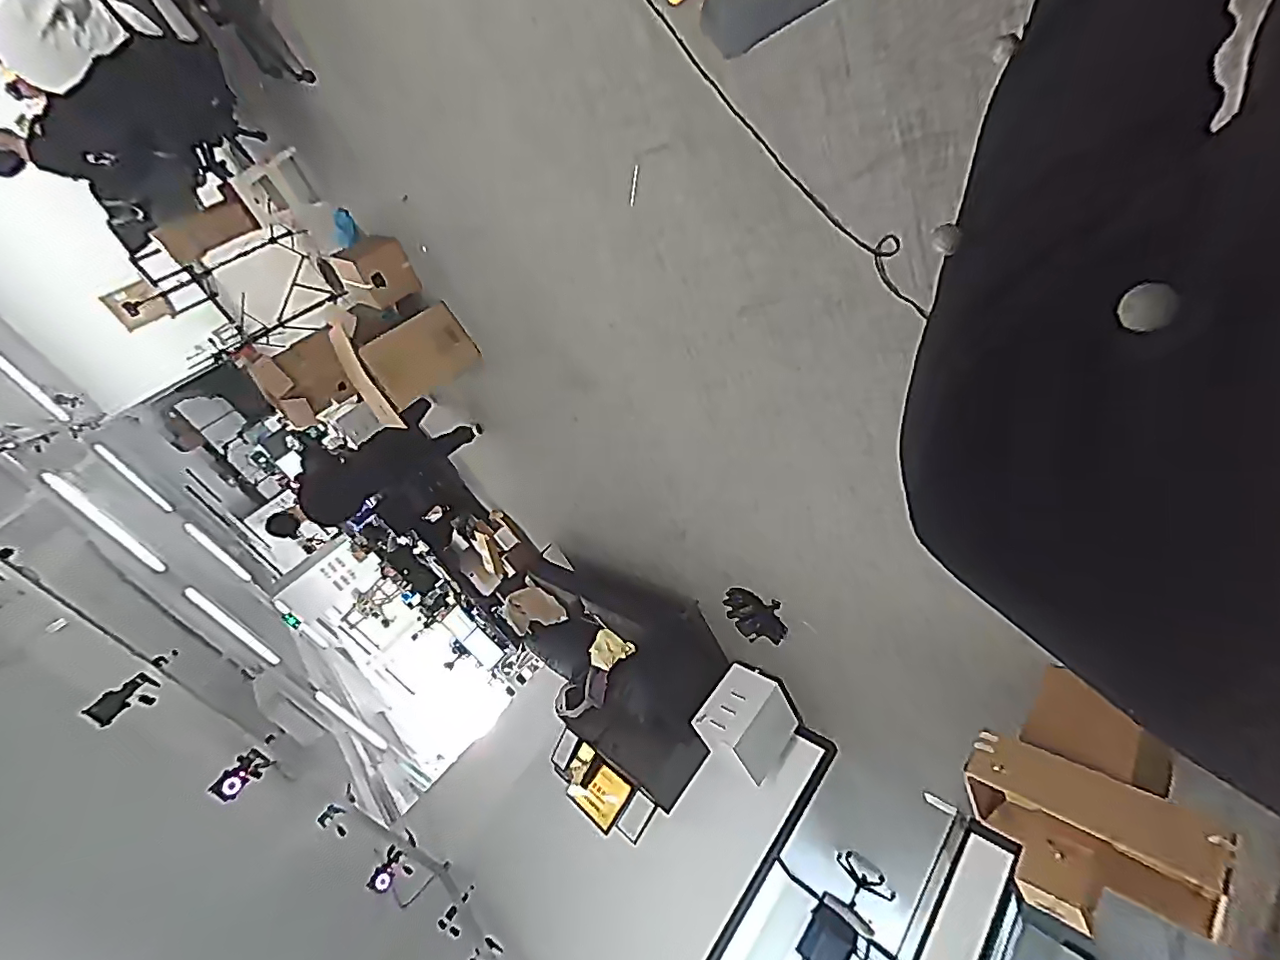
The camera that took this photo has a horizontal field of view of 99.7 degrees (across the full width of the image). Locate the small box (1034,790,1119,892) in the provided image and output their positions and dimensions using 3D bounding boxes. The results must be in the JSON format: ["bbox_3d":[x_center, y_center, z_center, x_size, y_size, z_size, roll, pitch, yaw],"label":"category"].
[{"bbox_3d":[1.373,1.125,1.697,0.168,0.176,0.179,1,129,53],"label":"small box"}]

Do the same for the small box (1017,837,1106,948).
[{"bbox_3d":[1.270,1.231,1.625,0.168,0.176,0.179,0,129,53],"label":"small box"}]
